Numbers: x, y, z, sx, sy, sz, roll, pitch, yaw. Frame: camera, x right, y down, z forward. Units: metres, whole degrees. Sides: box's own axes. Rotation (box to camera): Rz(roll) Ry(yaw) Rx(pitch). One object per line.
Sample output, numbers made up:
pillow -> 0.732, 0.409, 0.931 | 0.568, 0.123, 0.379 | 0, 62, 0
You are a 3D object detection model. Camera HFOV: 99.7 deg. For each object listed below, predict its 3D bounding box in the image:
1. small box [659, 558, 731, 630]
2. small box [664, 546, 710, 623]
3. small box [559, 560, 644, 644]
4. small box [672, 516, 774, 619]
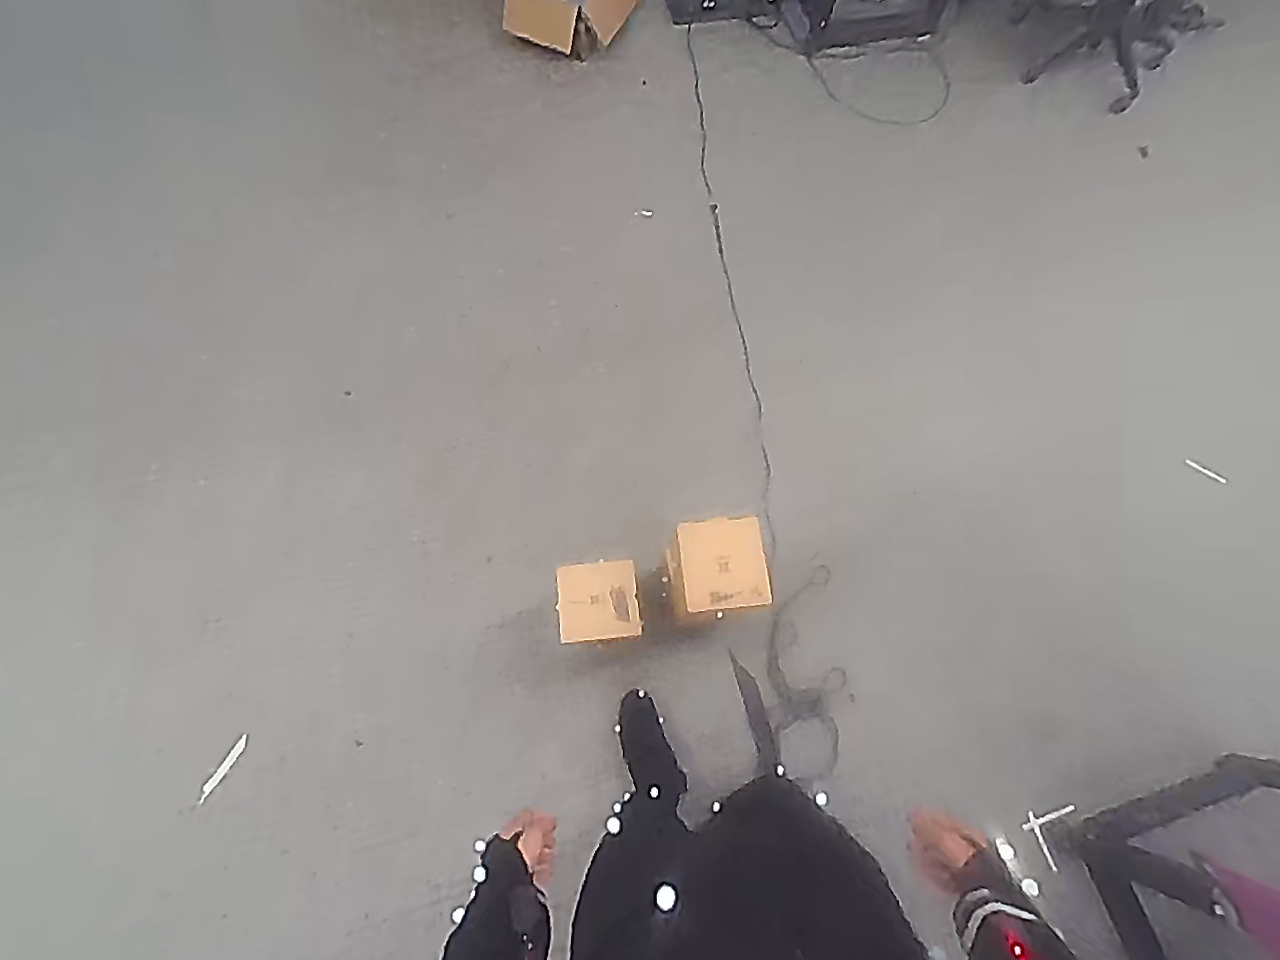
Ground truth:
small box -> 0.152, 0.287, 1.430 | 0.168, 0.176, 0.179 | -13, 73, -6
small box -> 0.158, 0.236, 1.276 | 0.179, 0.176, 0.168 | -12, 72, -6
small box -> -0.088, 0.285, 1.246 | 0.179, 0.176, 0.168 | -5, 71, -3
small box -> 0.162, 0.185, 1.120 | 0.168, 0.176, 0.179 | -5, 71, -3
